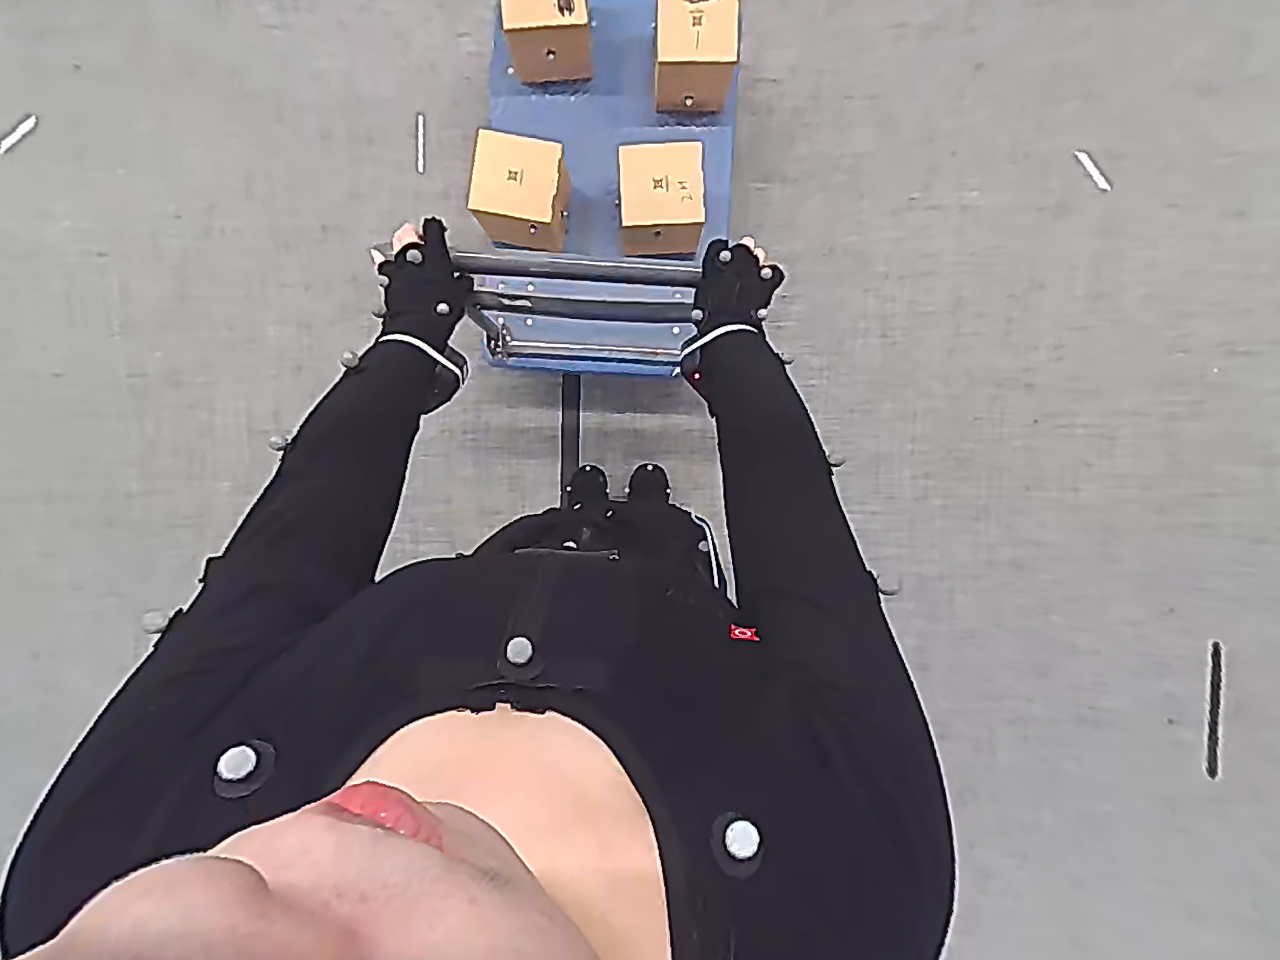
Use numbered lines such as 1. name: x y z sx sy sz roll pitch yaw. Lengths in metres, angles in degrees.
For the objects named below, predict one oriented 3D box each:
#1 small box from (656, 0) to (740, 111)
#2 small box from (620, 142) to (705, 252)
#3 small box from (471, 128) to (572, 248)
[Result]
1. small box: 0.121 -0.953 1.185 0.168 0.176 0.179 0 94 0
2. small box: 0.048 -0.621 1.204 0.179 0.176 0.168 -2 93 0
3. small box: -0.255 -0.638 1.202 0.179 0.176 0.168 9 93 -2
